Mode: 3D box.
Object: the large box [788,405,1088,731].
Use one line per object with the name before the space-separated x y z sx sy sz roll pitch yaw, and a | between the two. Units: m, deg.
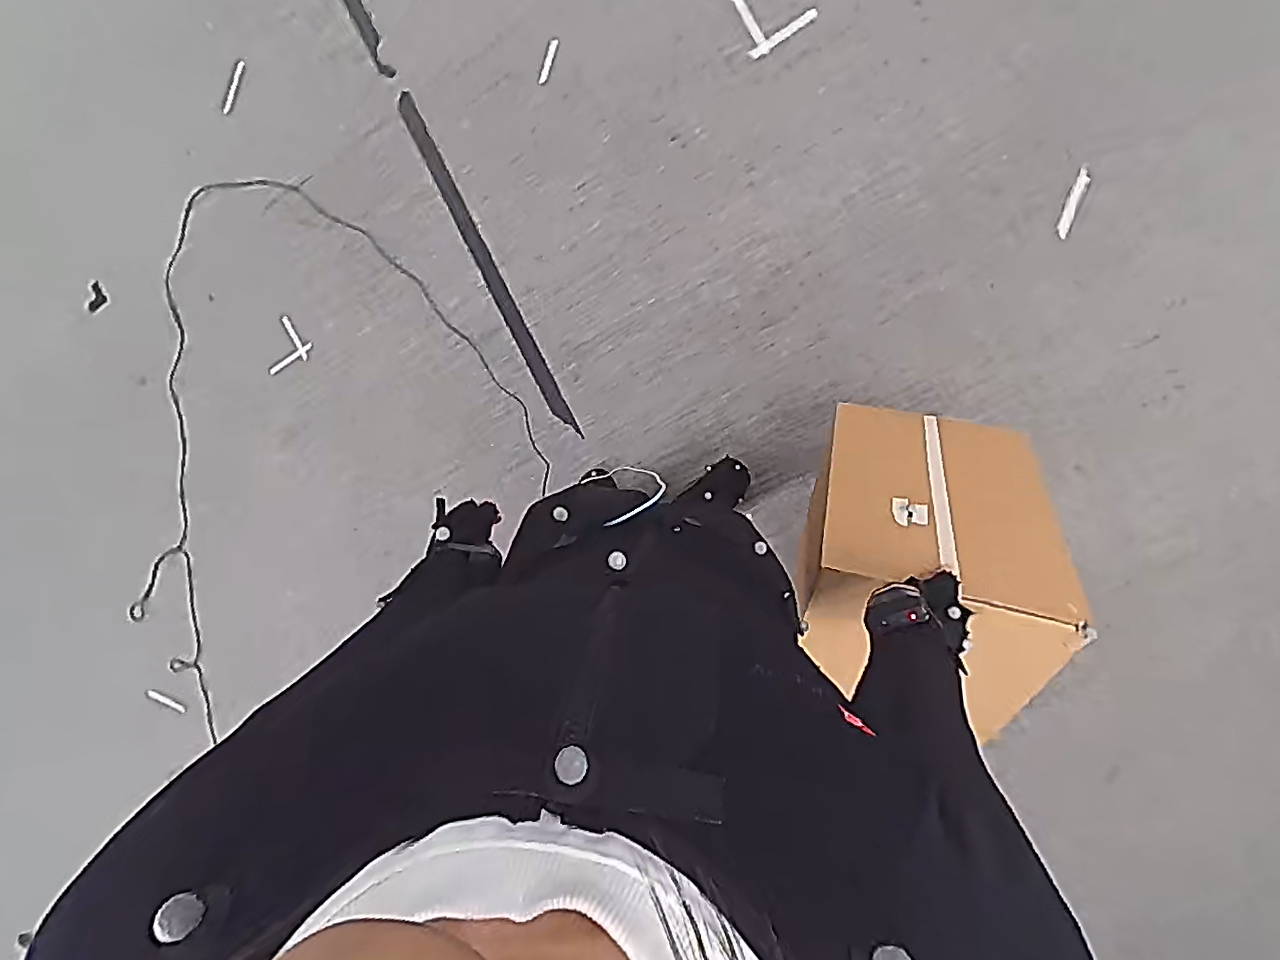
large box | 0.443 0.128 0.911 0.320 0.408 0.320 10 134 14
